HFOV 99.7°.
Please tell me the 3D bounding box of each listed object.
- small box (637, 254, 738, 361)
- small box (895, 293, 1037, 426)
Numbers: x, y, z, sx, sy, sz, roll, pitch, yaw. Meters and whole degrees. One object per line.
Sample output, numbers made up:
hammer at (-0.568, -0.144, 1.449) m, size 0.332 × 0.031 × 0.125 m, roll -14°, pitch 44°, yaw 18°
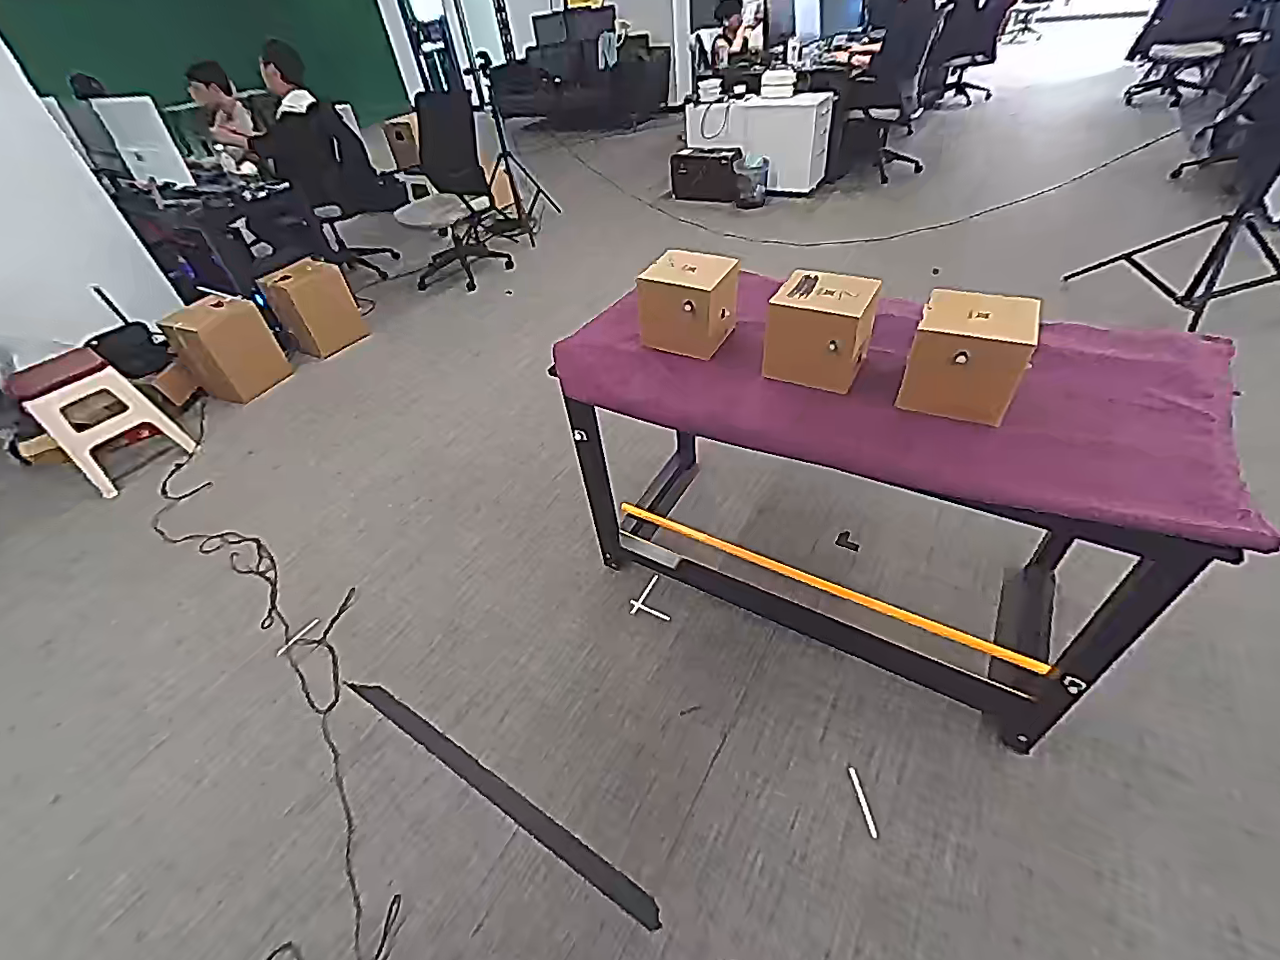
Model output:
small box at (0.111, -0.394, 1.241) m, size 0.179 × 0.176 × 0.168 m, roll 19°, pitch 48°, yaw 22°
small box at (0.591, -0.219, 0.990) m, size 0.179 × 0.176 × 0.168 m, roll 17°, pitch 48°, yaw 25°
